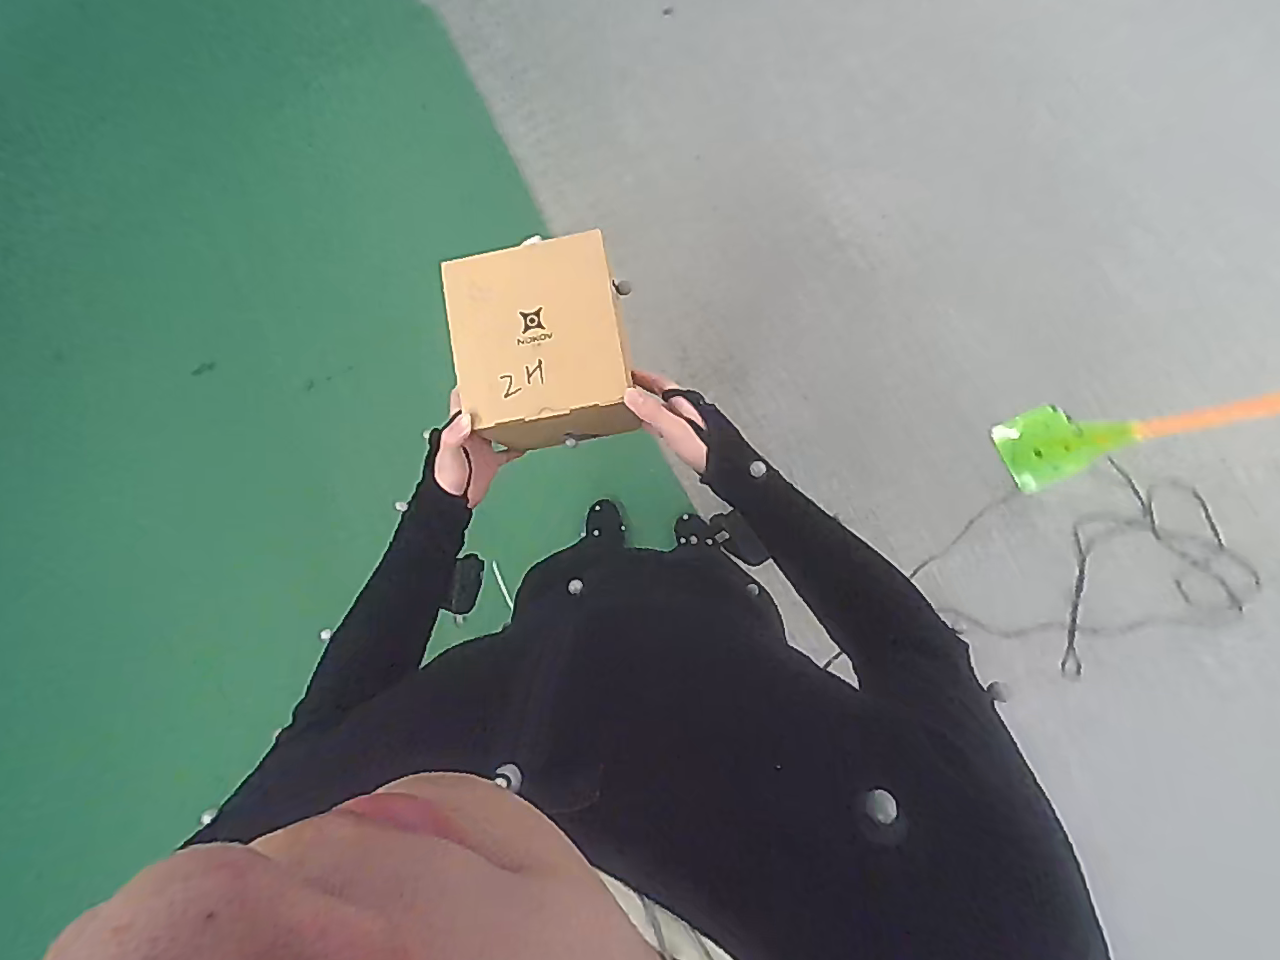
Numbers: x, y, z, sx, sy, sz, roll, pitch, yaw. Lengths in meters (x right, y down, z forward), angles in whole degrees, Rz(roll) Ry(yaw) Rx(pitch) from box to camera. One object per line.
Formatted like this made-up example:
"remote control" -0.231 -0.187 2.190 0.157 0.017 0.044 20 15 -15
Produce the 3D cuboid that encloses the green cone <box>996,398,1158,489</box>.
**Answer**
"green cone" 1.095 -0.105 1.326 0.200 0.368 0.202 -27 86 6
